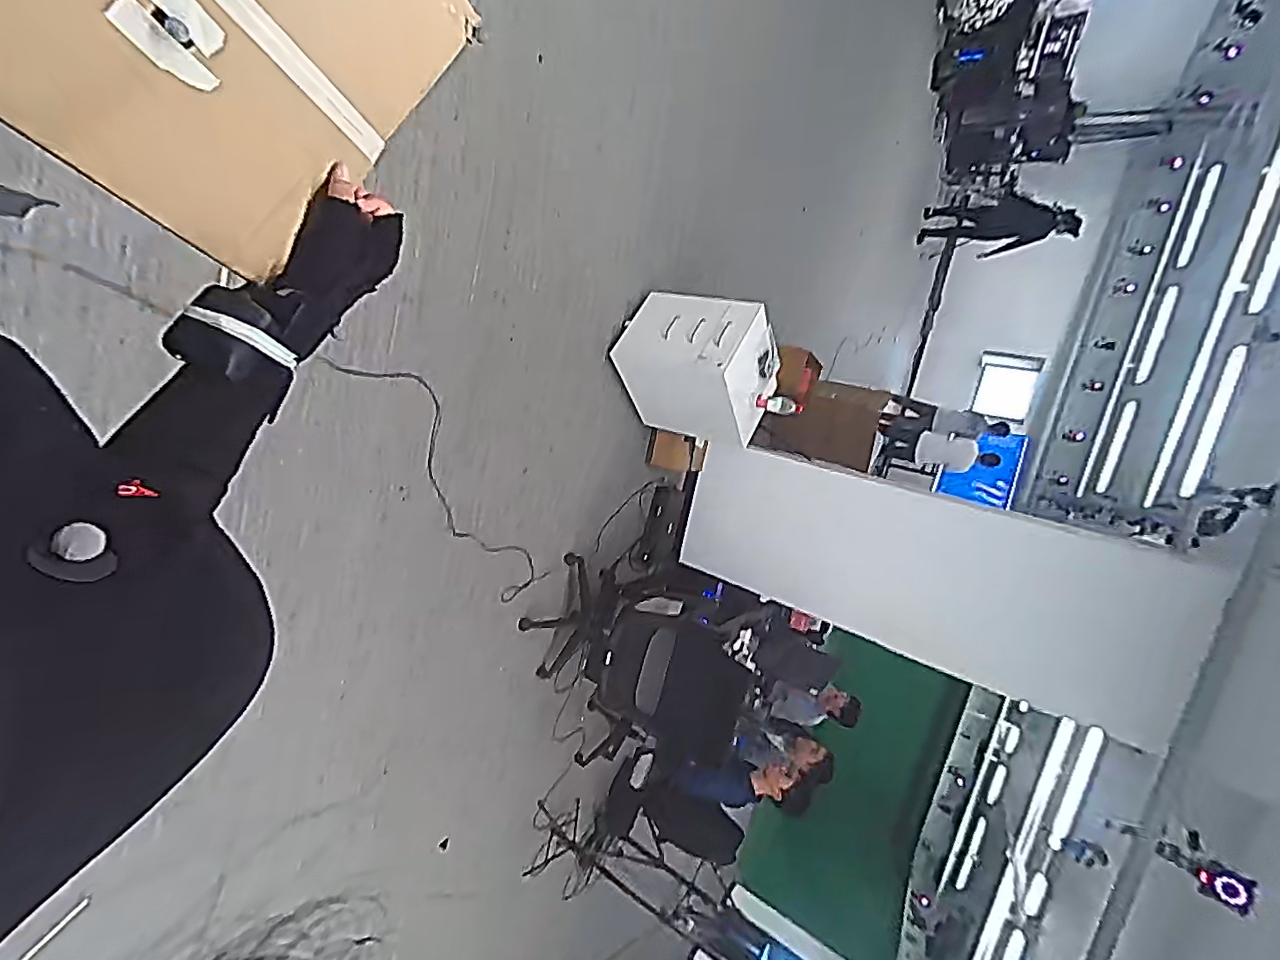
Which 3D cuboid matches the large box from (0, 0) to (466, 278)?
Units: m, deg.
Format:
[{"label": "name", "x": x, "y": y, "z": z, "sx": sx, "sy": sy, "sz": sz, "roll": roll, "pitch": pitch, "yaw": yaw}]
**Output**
[{"label": "large box", "x": -0.431, "y": -0.433, "z": 0.398, "sx": 0.320, "sy": 0.320, "sz": 0.408, "roll": -55, "pitch": 149, "yaw": -4}]
